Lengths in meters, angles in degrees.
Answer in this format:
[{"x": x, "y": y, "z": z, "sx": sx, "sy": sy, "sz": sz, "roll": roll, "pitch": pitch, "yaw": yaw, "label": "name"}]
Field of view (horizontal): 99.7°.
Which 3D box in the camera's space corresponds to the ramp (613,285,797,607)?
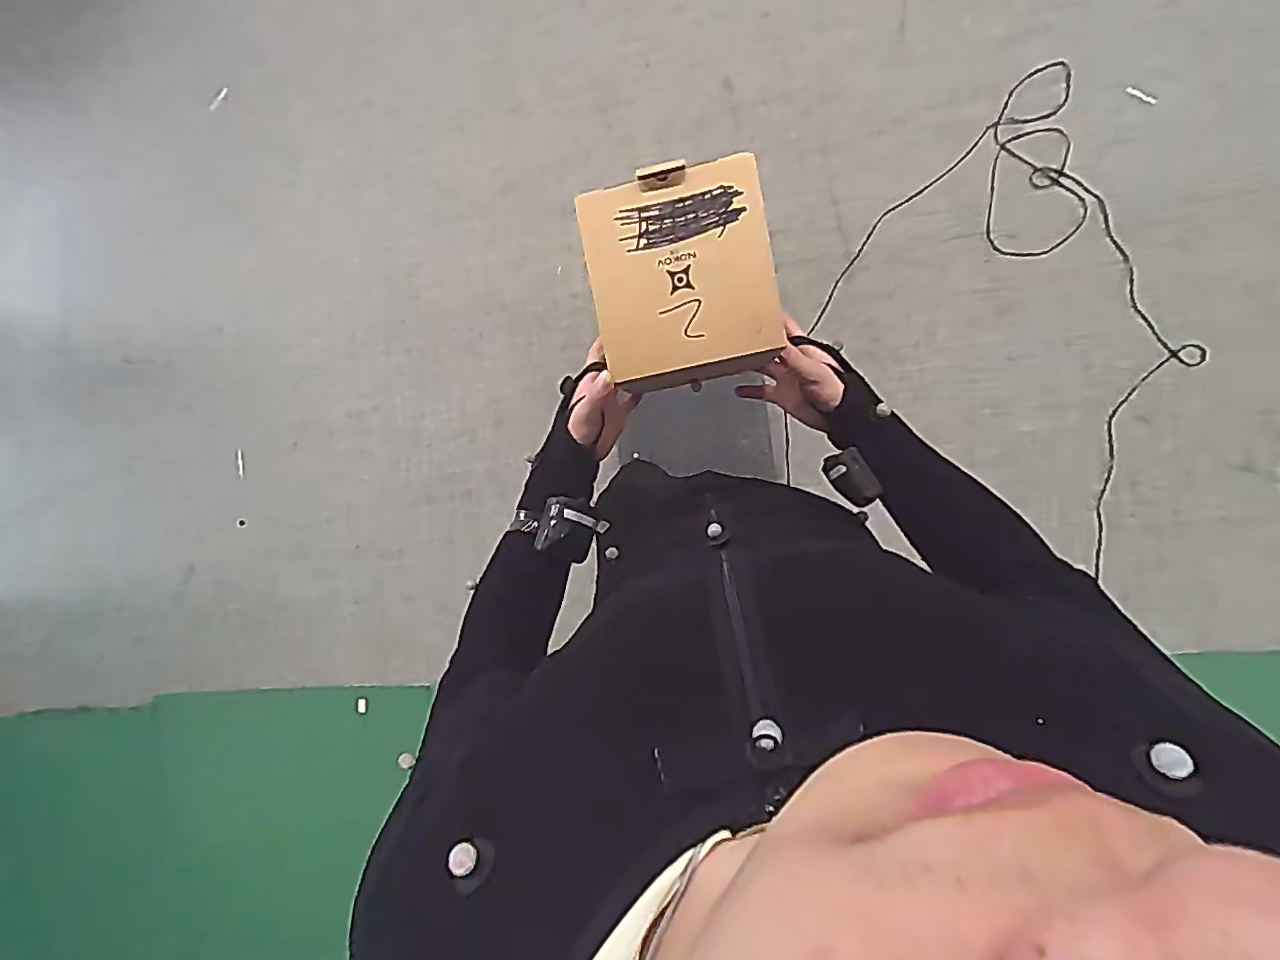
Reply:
[{"x": 0.181, "y": -0.123, "z": 1.708, "sx": 0.509, "sy": 0.206, "sz": 0.991, "roll": -8, "pitch": 89, "yaw": 10, "label": "ramp"}]
